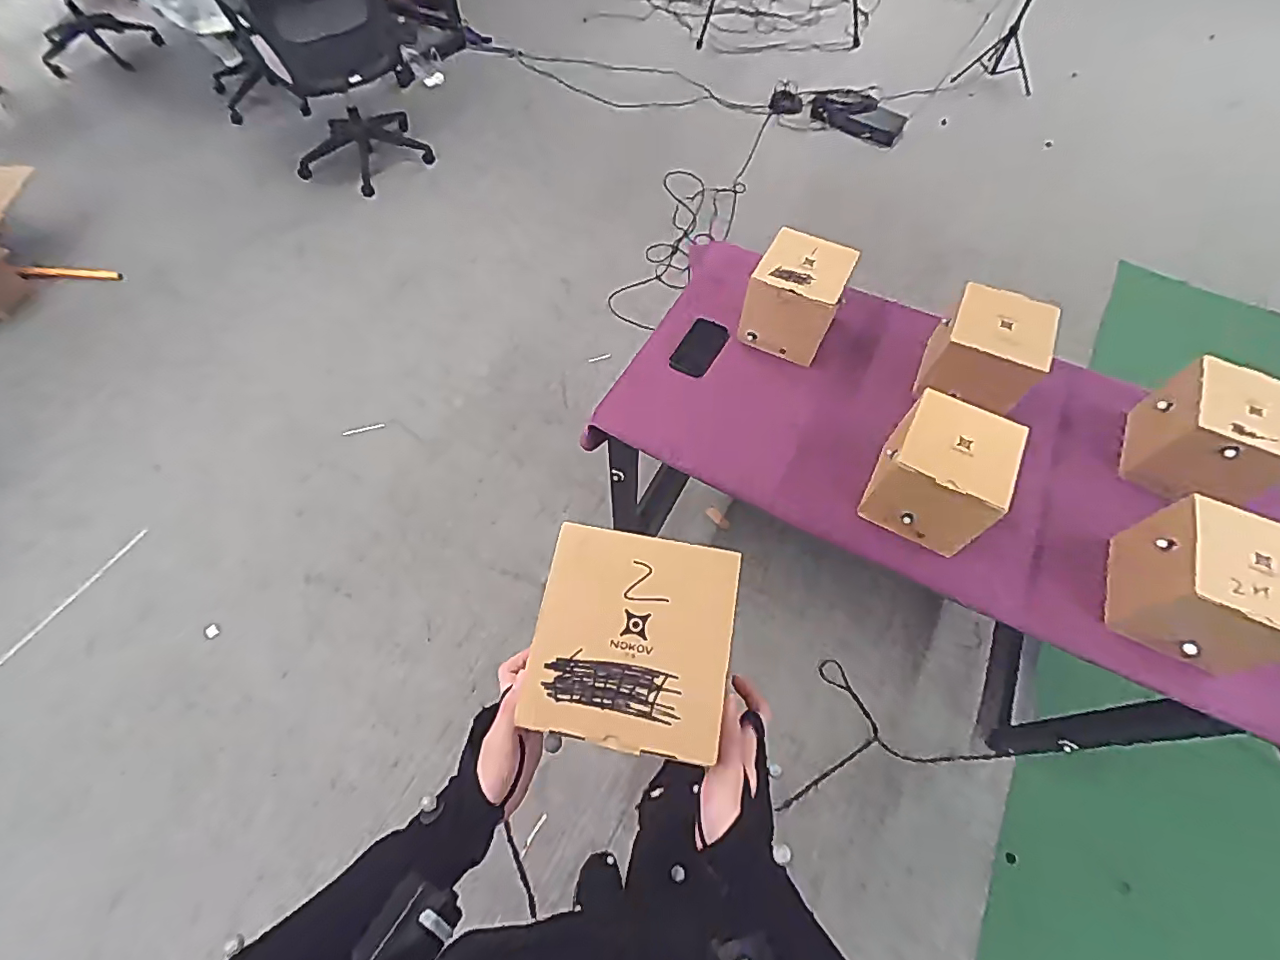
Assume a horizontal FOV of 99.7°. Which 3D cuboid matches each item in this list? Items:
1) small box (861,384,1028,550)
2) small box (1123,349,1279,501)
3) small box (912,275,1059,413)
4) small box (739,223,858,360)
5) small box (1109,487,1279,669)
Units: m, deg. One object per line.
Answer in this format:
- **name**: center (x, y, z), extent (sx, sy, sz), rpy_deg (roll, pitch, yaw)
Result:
- **small box**: center (0.490, -0.018, 0.889), extent (0.168, 0.176, 0.179), rpy_deg (27, 62, 14)
- **small box**: center (0.987, -0.084, 0.932), extent (0.168, 0.176, 0.179), rpy_deg (26, 63, 15)
- **small box**: center (0.646, -0.245, 1.025), extent (0.168, 0.176, 0.179), rpy_deg (24, 63, 14)
- **small box**: center (0.311, -0.376, 1.095), extent (0.168, 0.176, 0.179), rpy_deg (25, 62, 13)
- **small box**: center (0.837, 0.147, 0.791), extent (0.168, 0.176, 0.179), rpy_deg (24, 63, 14)
